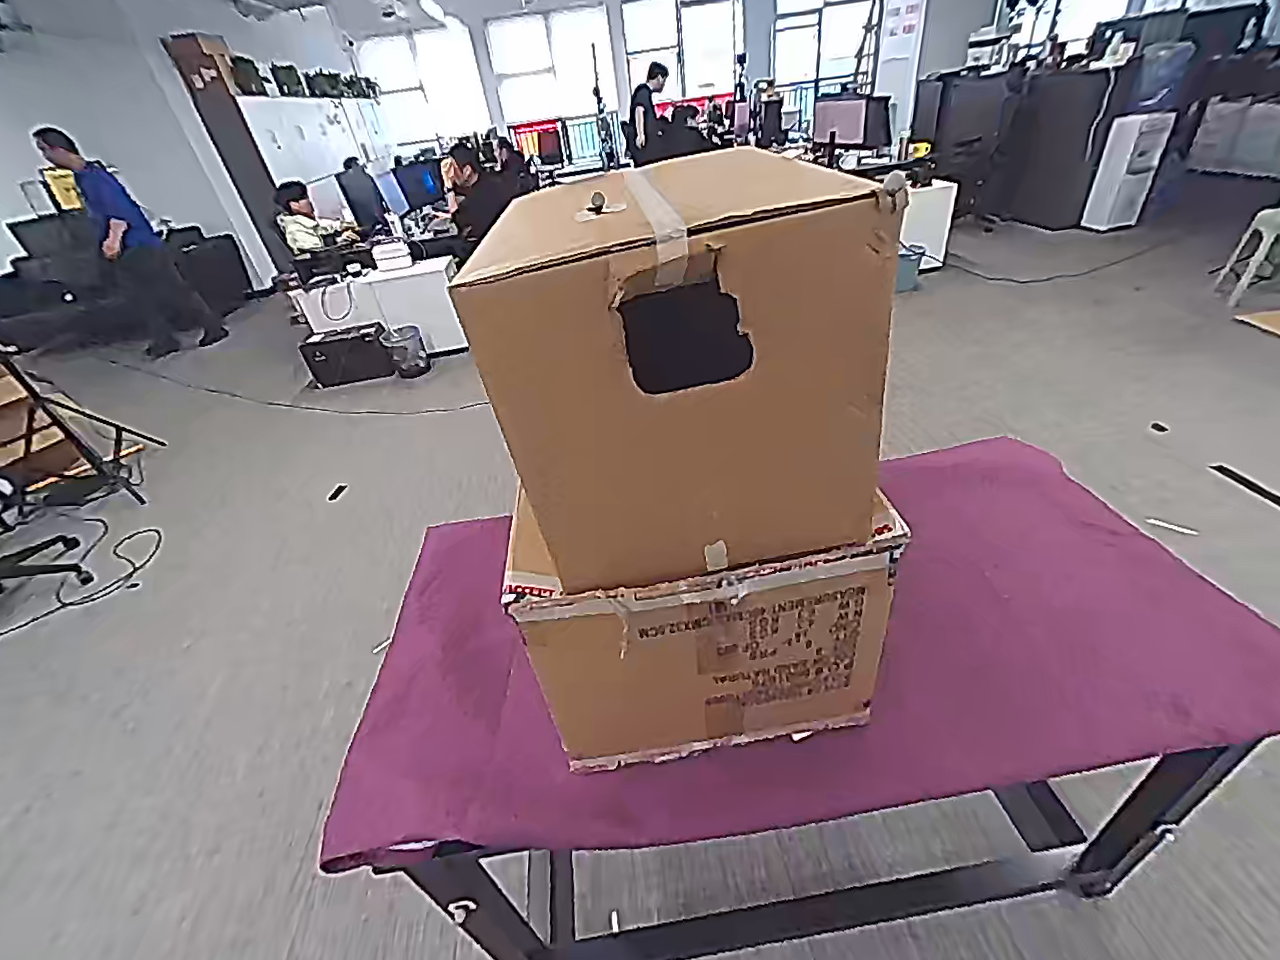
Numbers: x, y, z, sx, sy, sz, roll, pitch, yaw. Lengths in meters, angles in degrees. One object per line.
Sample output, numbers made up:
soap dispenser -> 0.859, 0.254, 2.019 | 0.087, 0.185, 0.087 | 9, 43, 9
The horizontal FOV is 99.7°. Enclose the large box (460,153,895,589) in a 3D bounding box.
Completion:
large box -> 0.029, -0.148, 0.611 | 0.320, 0.320, 0.408 | -13, 36, 2
